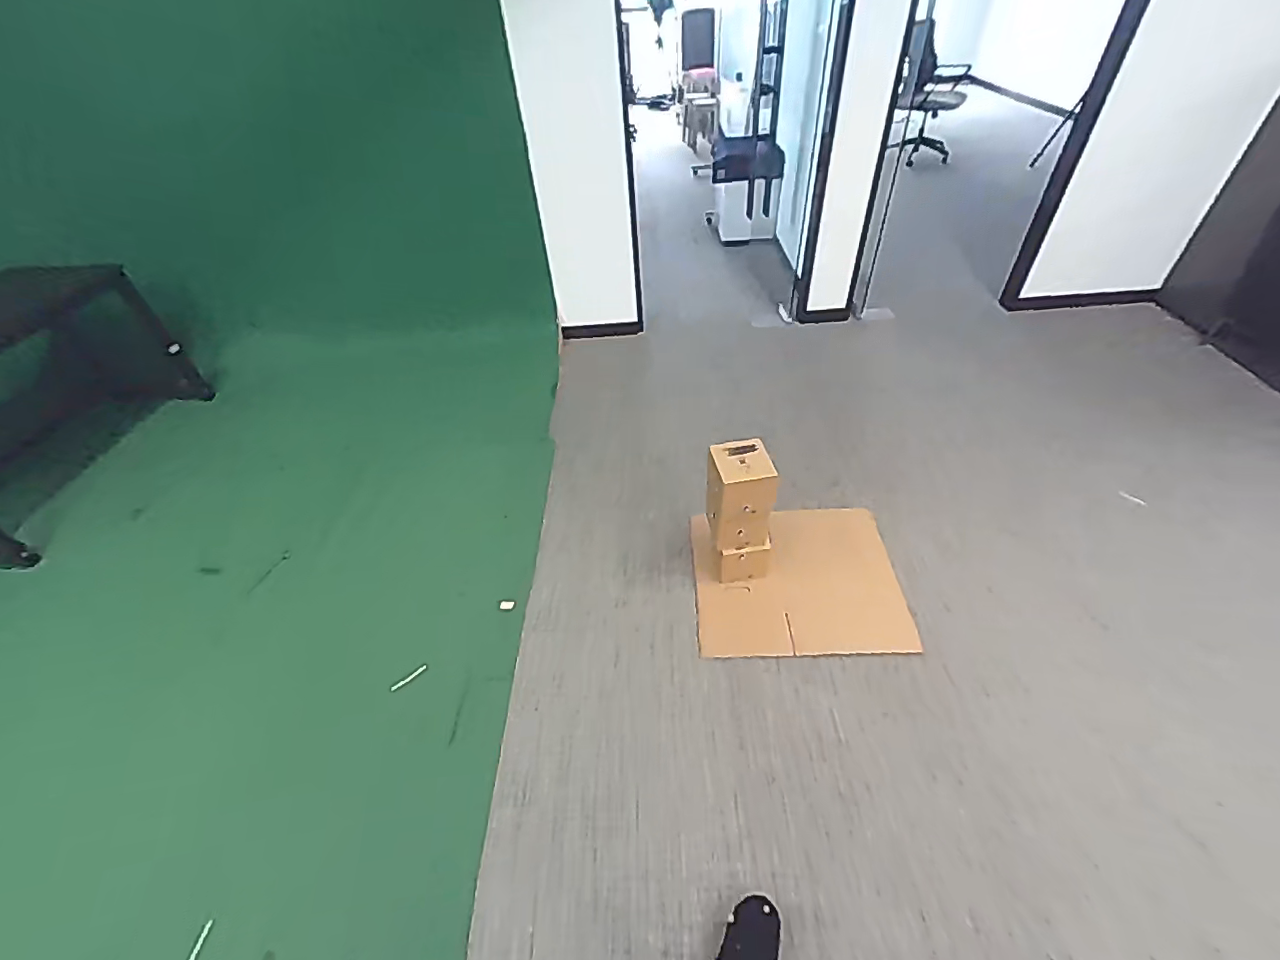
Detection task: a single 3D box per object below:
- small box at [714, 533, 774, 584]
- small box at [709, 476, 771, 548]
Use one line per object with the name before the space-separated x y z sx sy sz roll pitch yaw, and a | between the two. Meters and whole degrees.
small box | 0.356 0.240 1.895 0.168 0.176 0.179 -8 43 -2
small box | 0.325 0.113 1.793 0.168 0.176 0.179 -7 43 -2
